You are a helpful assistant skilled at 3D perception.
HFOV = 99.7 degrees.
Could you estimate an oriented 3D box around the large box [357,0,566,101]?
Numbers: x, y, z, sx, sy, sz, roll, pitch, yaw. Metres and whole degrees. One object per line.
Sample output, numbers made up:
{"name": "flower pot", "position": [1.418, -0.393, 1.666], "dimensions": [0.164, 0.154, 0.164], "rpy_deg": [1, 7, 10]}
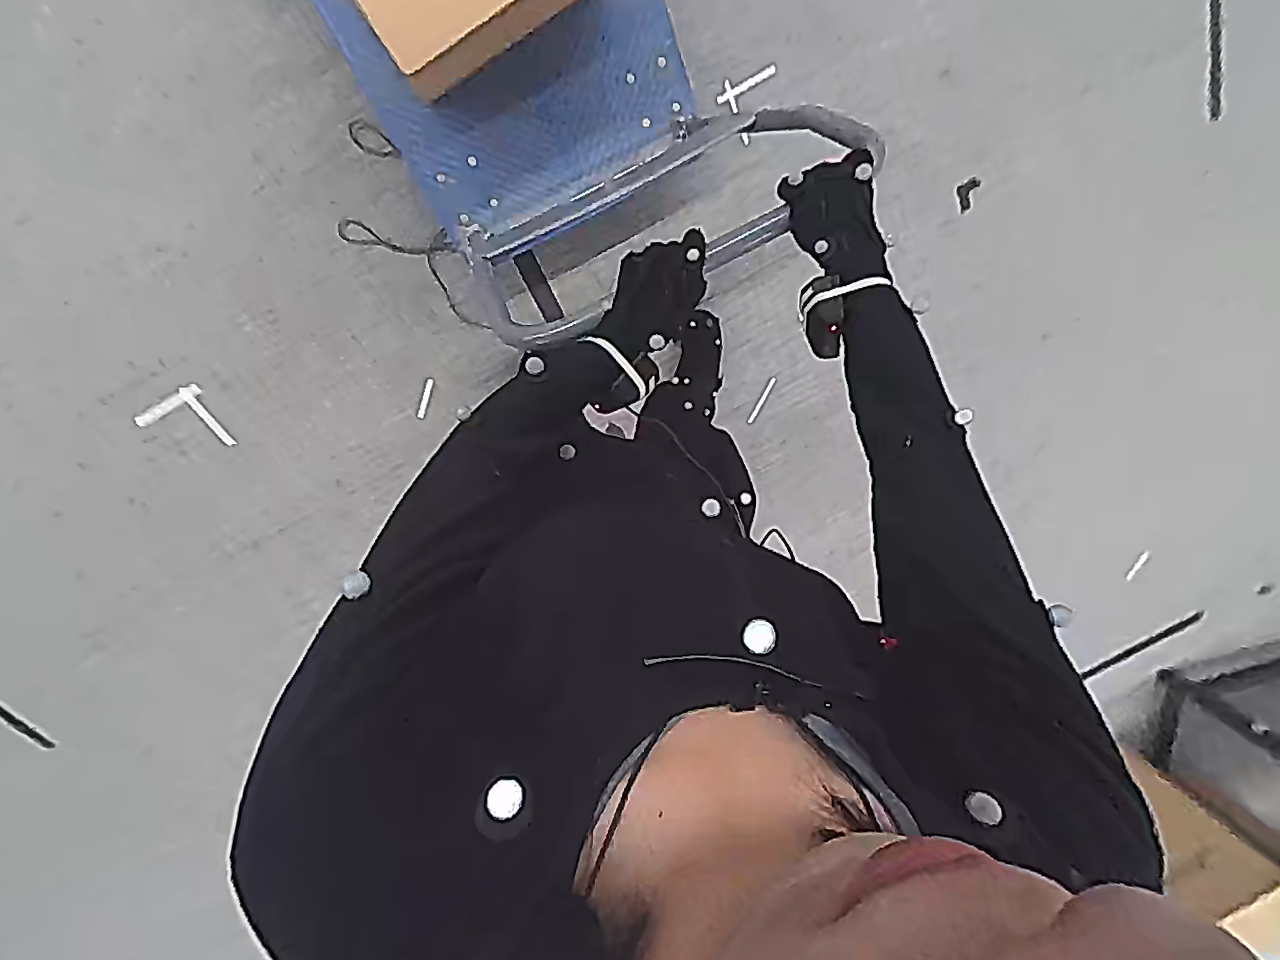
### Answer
{"name": "large box", "position": [-0.269, -0.853, 0.792], "dimensions": [0.408, 0.320, 0.320], "rpy_deg": [-34, 121, 3]}
